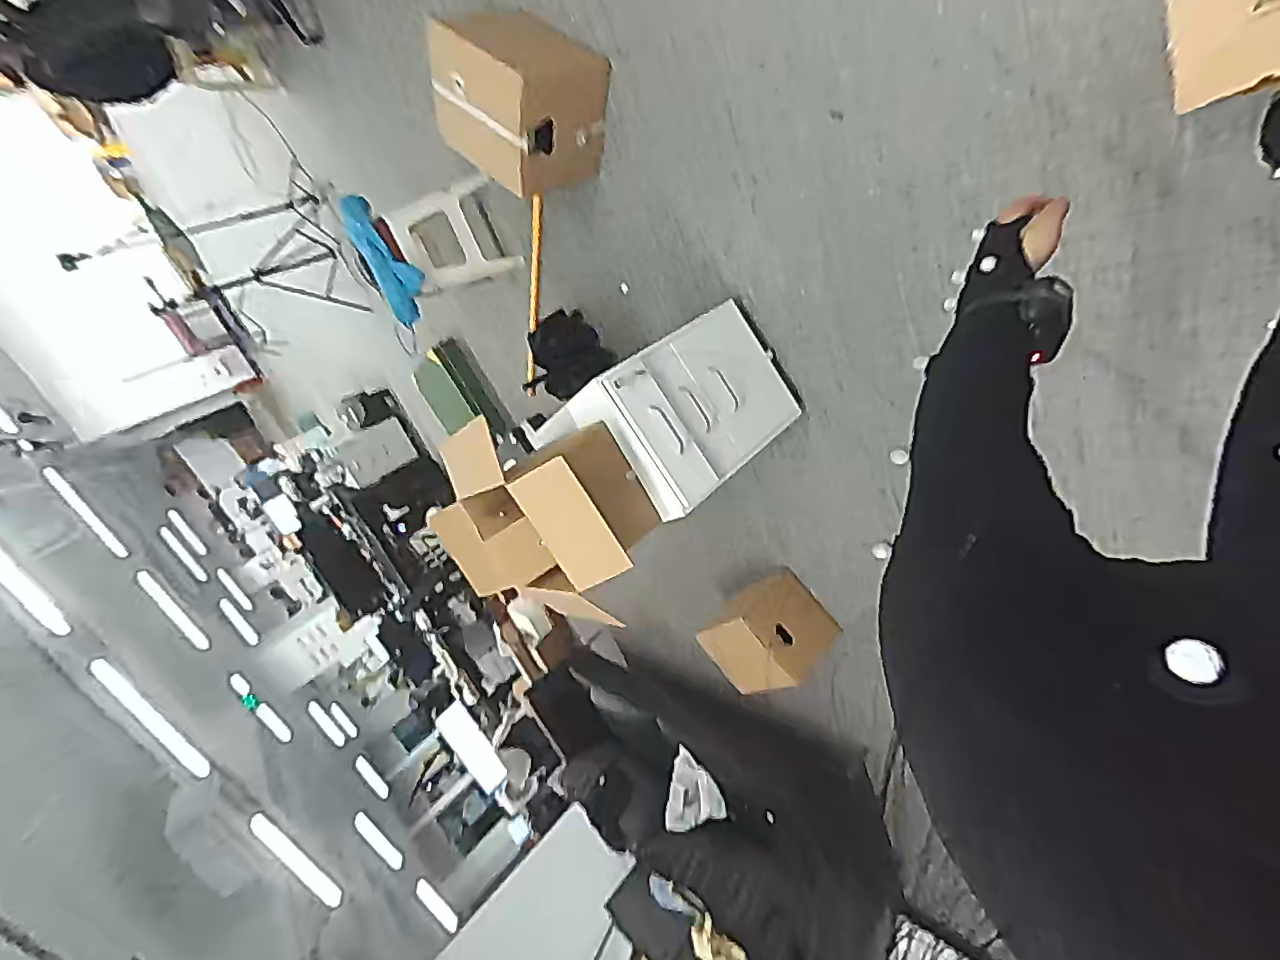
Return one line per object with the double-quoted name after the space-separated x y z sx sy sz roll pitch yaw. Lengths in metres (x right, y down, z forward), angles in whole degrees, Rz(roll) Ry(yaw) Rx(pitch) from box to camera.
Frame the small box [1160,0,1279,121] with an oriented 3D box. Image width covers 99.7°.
0.810 -0.614 0.704 0.168 0.176 0.179 1 123 52 "small box"
